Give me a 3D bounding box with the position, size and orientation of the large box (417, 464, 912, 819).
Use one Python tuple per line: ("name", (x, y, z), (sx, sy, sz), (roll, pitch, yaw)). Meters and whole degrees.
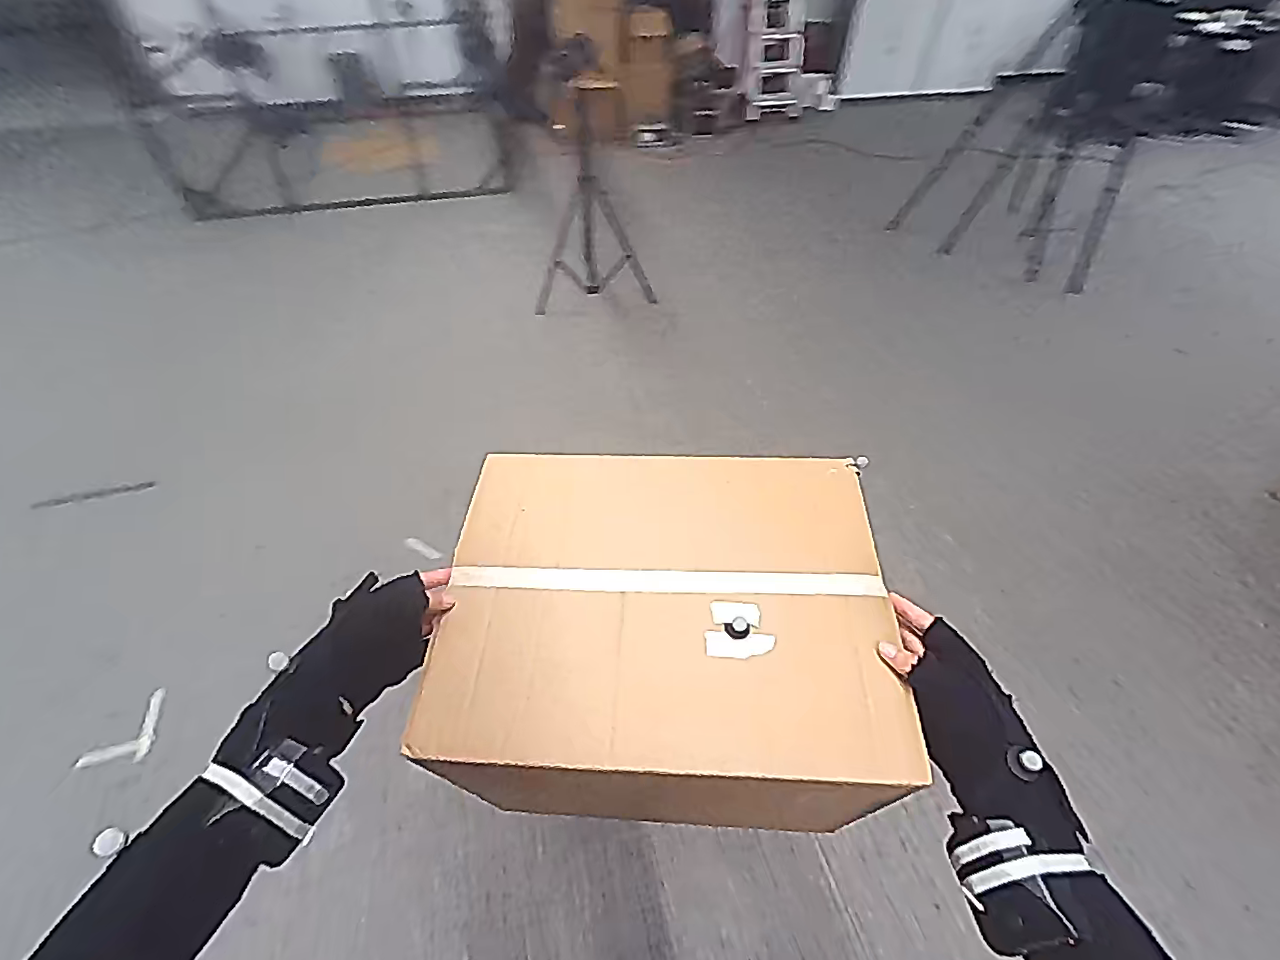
("large box", (0.024, 0.195, 0.635), (0.408, 0.320, 0.320), (1, 52, 3))
